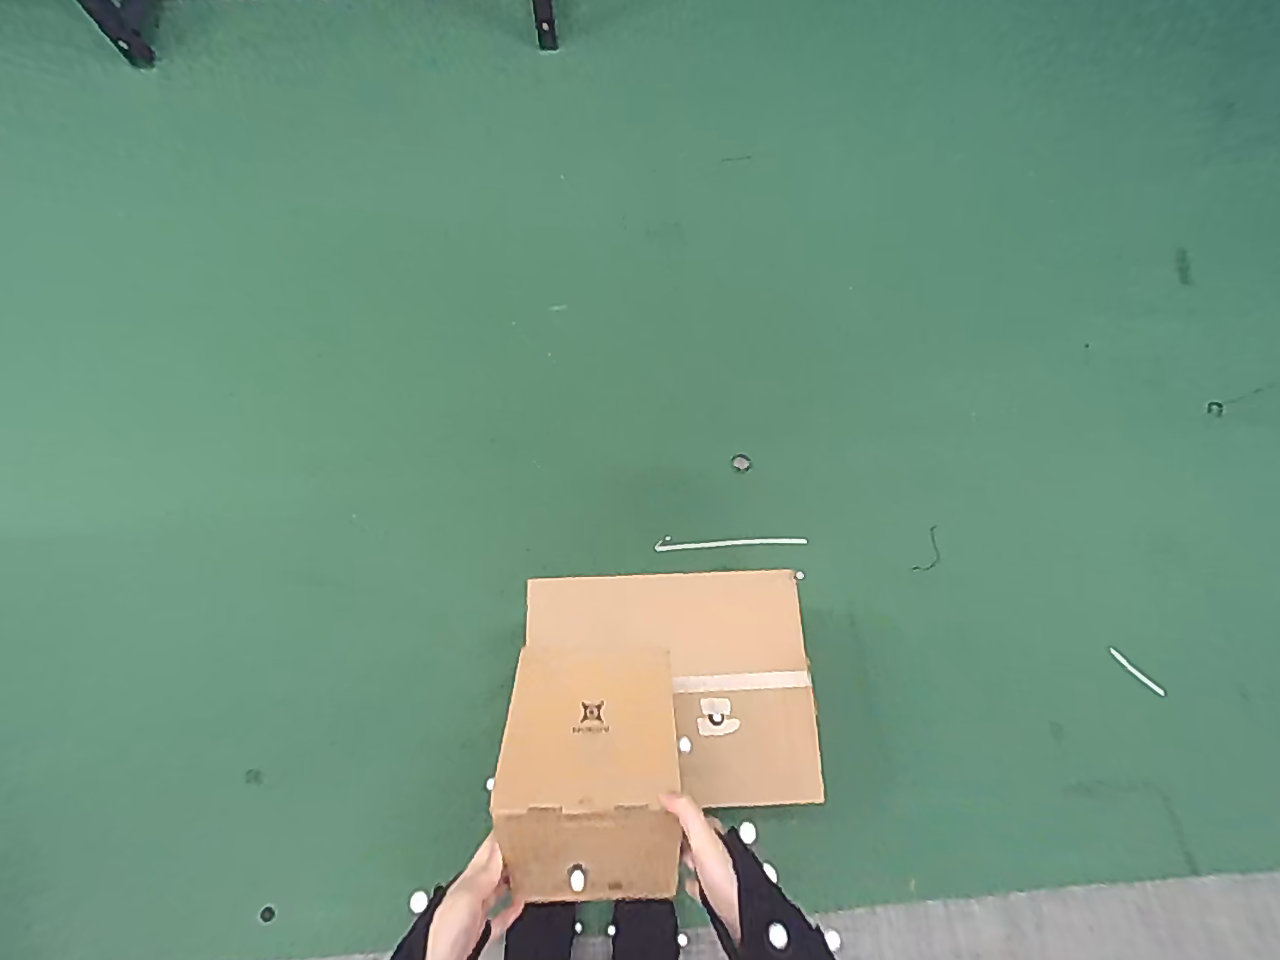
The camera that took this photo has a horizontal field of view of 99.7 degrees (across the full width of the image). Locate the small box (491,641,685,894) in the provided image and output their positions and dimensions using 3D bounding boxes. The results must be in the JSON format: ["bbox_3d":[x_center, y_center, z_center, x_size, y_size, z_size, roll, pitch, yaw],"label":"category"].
[{"bbox_3d":[-0.047,0.292,0.564,0.168,0.176,0.179,-1,32,-2],"label":"small box"}]

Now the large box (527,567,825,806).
[{"bbox_3d":[0.036,0.332,0.895,0.408,0.320,0.320,-2,72,-2],"label":"large box"}]
